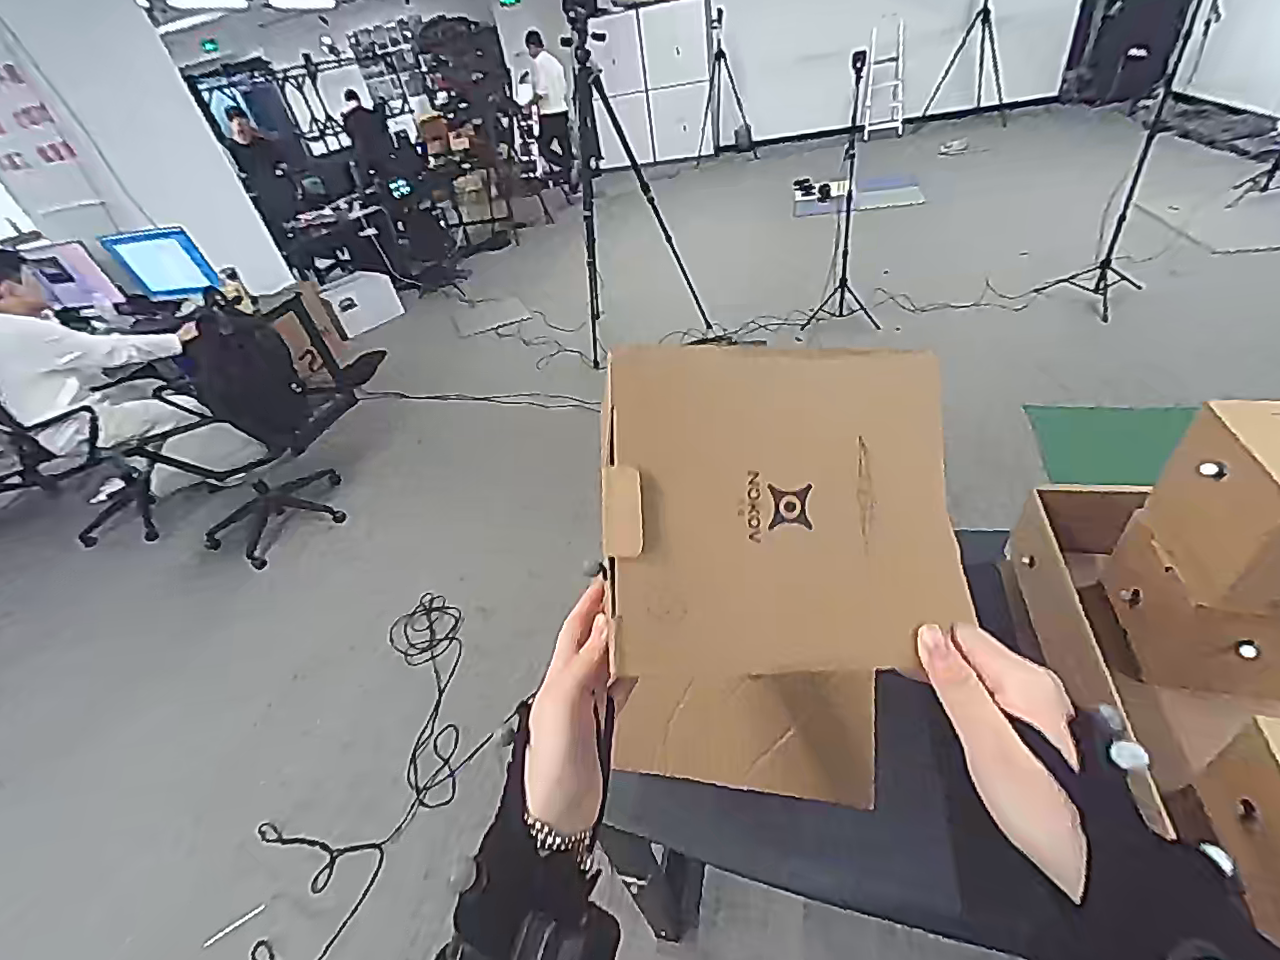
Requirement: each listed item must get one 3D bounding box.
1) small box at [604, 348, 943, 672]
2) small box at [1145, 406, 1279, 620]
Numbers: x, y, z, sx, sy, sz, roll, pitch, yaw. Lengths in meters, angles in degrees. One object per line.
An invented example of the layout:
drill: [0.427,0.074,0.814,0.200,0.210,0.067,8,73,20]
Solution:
small box: [0.065,0.017,0.356,0.179,0.168,0.176,0,-1,-6]
small box: [0.715,0.036,0.594,0.168,0.176,0.179,2,42,17]
